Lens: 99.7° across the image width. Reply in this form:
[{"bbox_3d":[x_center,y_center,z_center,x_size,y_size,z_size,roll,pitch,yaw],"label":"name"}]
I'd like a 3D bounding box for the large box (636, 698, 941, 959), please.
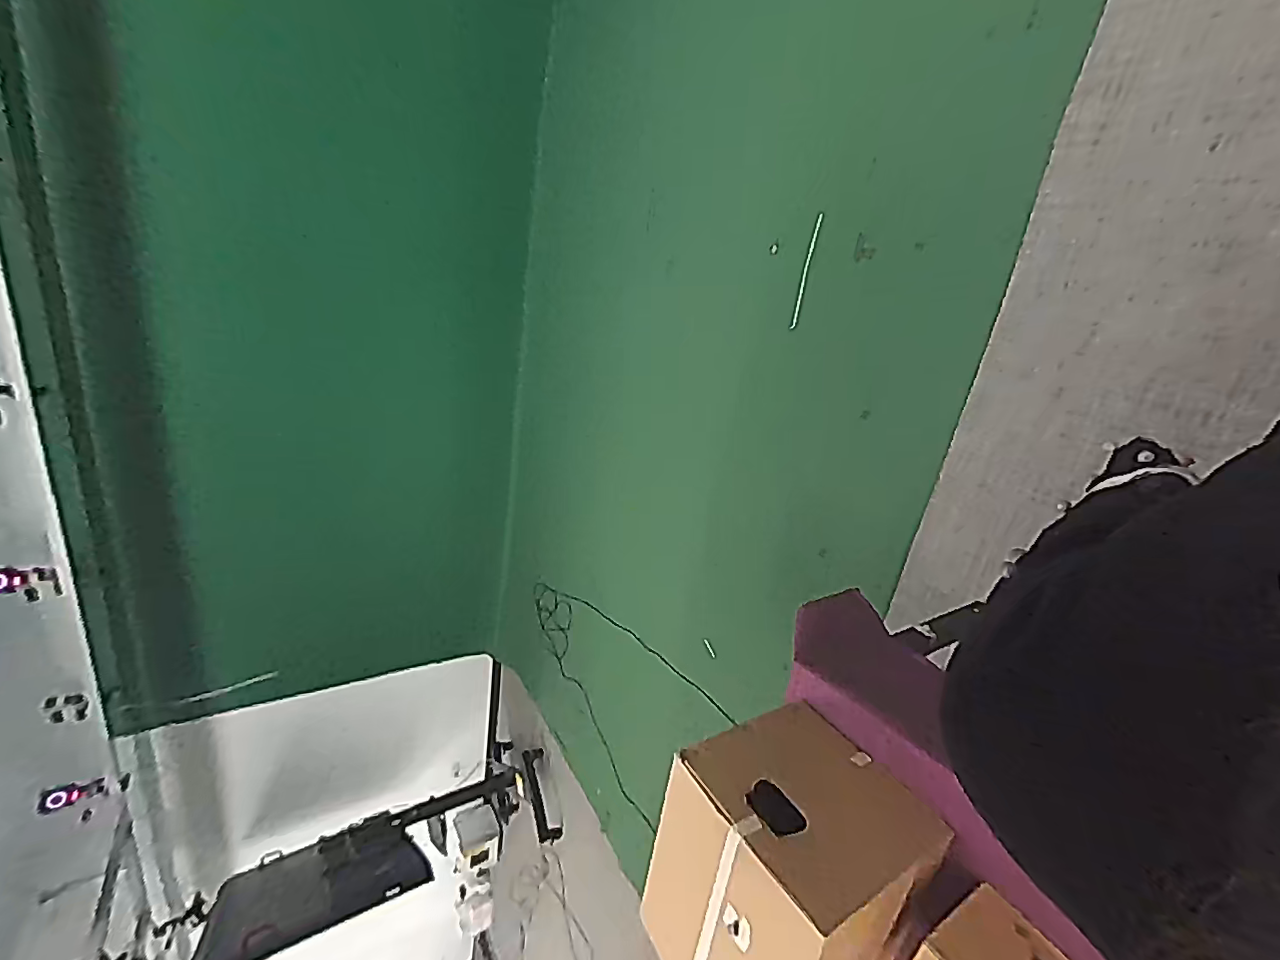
[{"bbox_3d":[0.229,0.662,0.916,0.320,0.320,0.408,33,118,49],"label":"large box"}]
